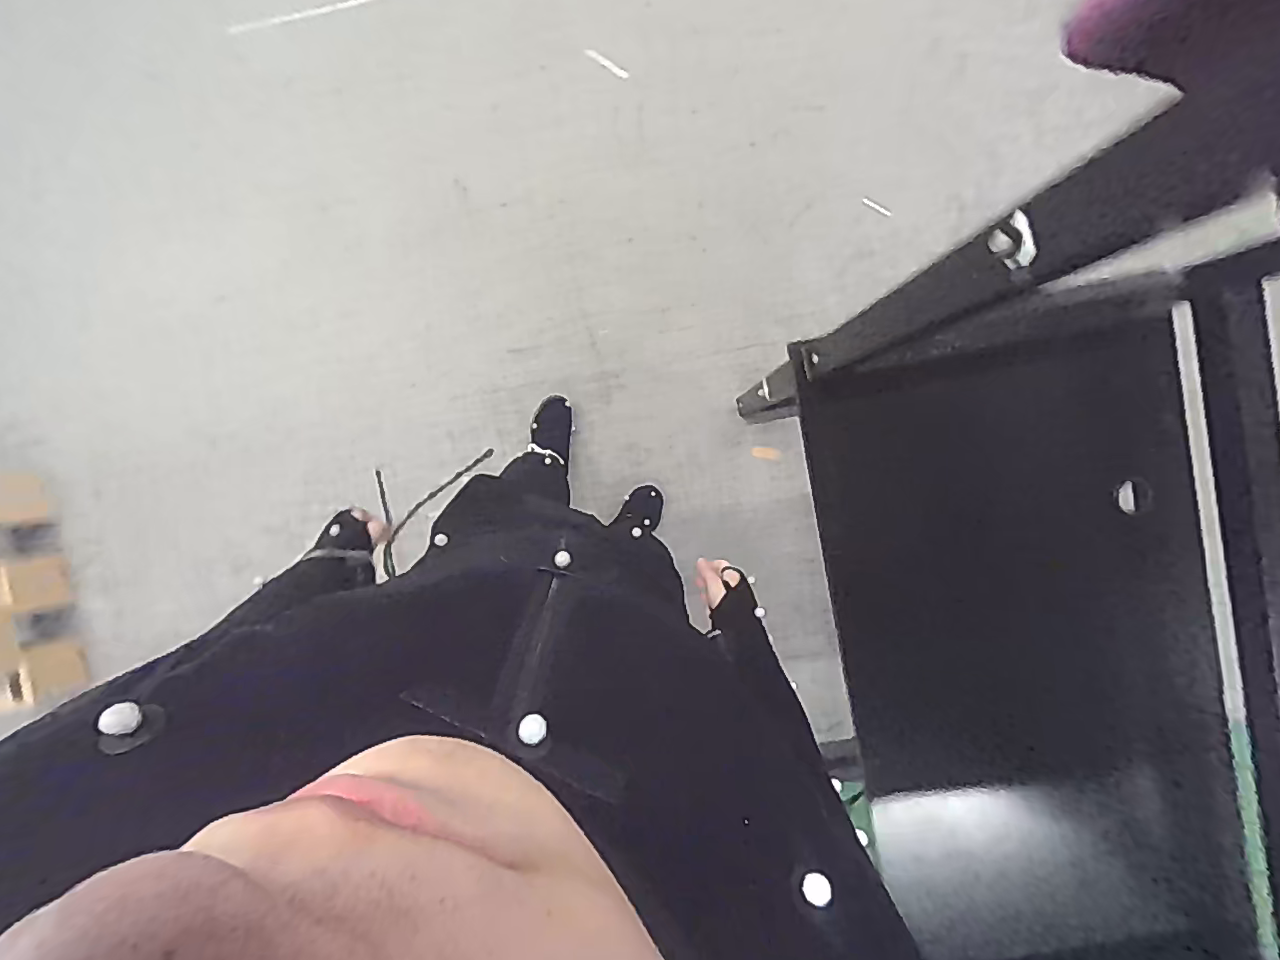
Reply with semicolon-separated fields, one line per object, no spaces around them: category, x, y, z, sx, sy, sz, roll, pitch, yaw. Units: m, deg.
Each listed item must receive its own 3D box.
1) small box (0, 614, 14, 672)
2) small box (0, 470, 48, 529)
small box;-1.866;0.459;1.454;0.168;0.176;0.179;-7;93;2
small box;-1.929;0.064;1.605;0.179;0.176;0.168;-9;92;2
